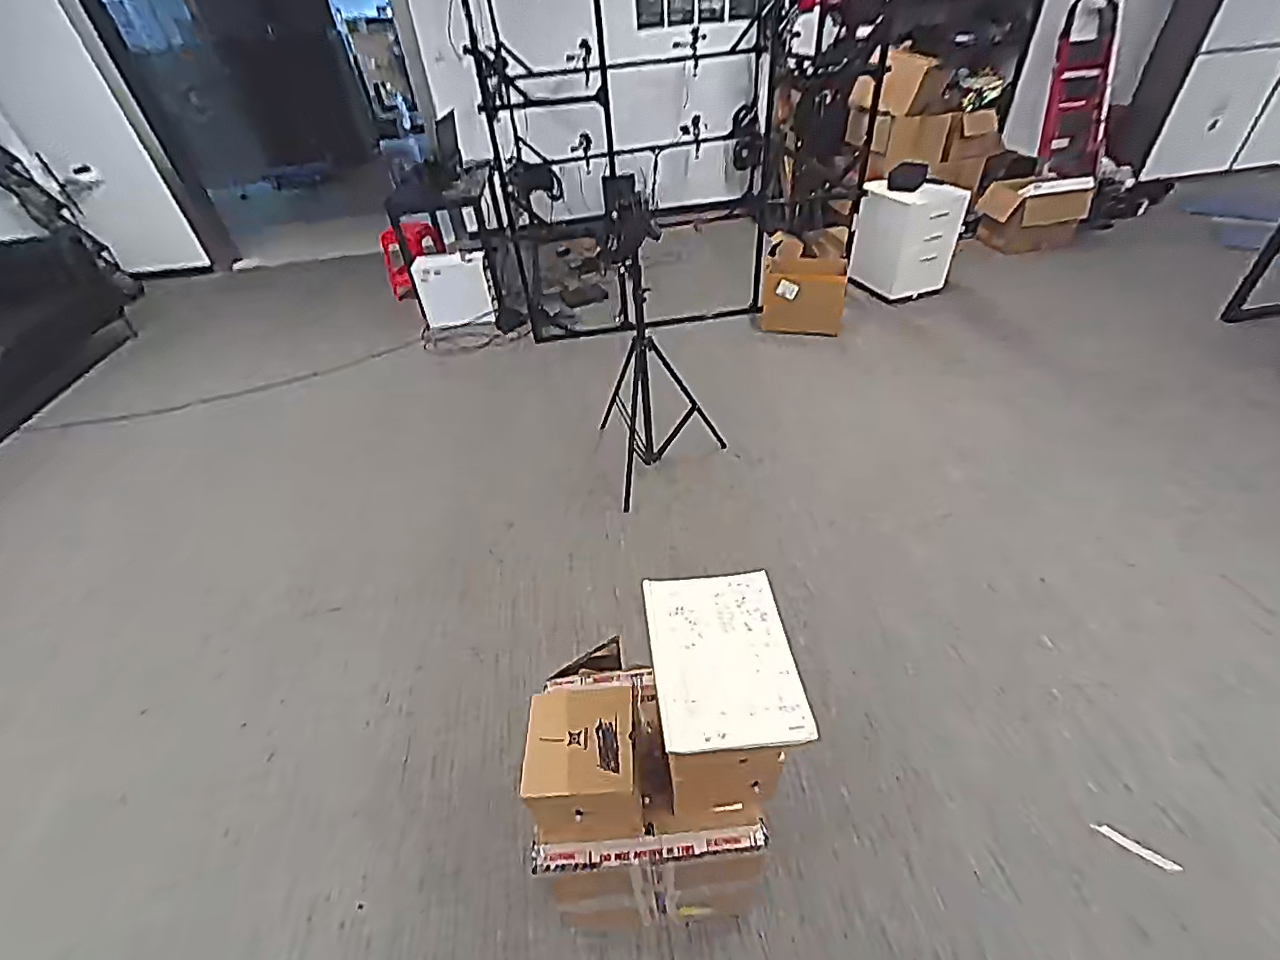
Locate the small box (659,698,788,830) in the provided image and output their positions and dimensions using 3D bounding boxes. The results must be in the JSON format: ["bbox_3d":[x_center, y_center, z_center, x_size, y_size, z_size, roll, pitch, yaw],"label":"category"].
[{"bbox_3d":[0.131,0.470,0.926,0.179,0.176,0.168,-8,42,-6],"label":"small box"}]

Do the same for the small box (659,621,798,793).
[{"bbox_3d":[0.121,0.344,0.824,0.168,0.176,0.179,-7,41,-5],"label":"small box"}]

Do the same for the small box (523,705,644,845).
[{"bbox_3d":[-0.084,0.499,0.913,0.179,0.176,0.168,-5,43,3],"label":"small box"}]
